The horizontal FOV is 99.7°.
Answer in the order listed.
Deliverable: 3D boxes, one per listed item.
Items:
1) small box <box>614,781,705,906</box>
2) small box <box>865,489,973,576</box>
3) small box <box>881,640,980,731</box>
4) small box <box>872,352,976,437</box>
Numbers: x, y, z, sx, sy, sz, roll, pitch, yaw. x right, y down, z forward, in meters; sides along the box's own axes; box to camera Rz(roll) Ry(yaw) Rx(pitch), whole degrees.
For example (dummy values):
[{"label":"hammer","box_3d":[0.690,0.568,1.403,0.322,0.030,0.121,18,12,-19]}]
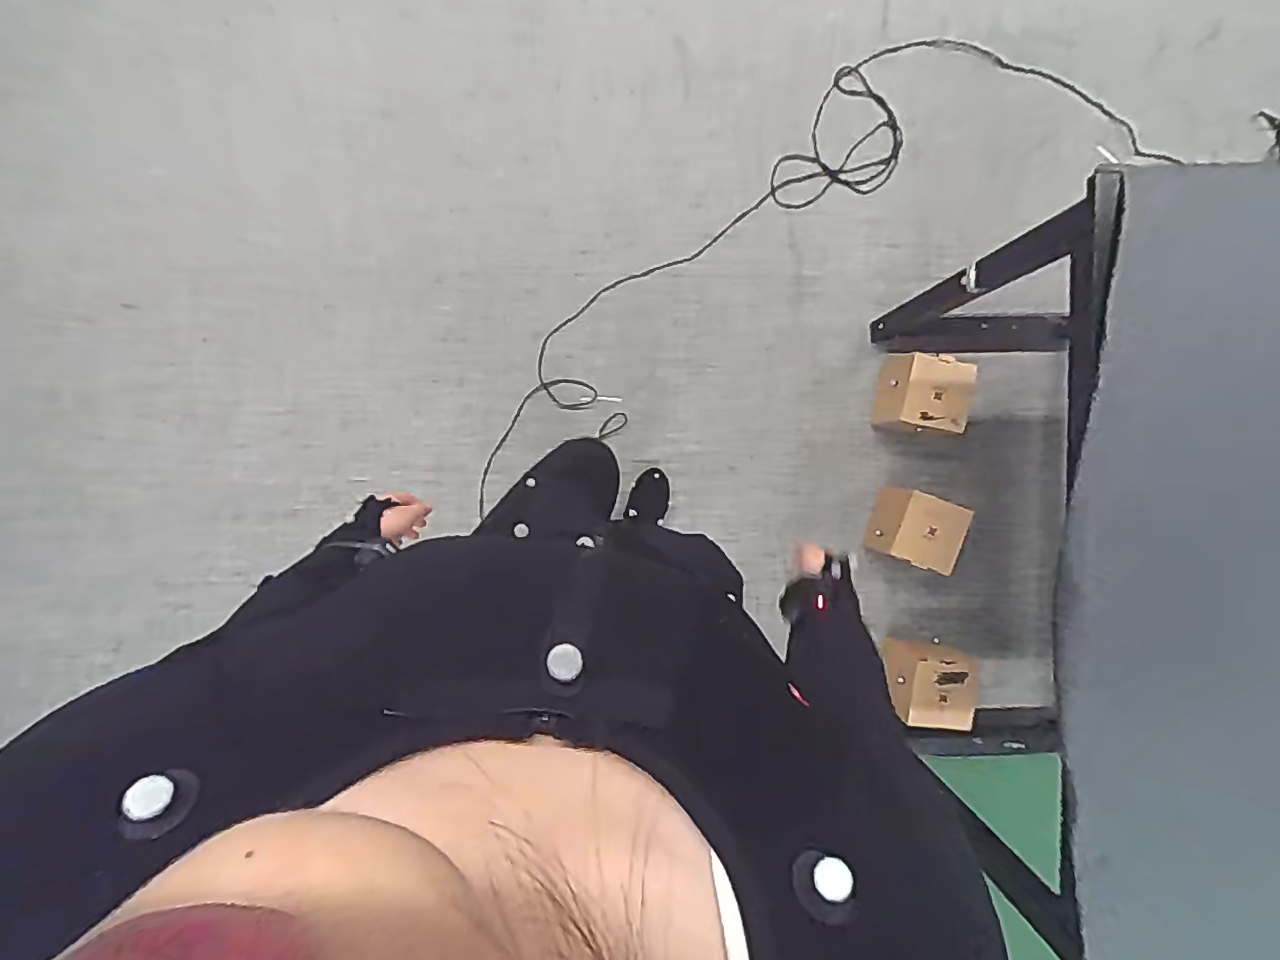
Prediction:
[{"label":"small box","box_3d":[0.049,0.948,1.426,0.168,0.176,0.179,-36,91,0]},{"label":"small box","box_3d":[0.721,0.131,1.421,0.168,0.176,0.179,20,89,-2]},{"label":"small box","box_3d":[0.760,0.535,1.431,0.168,0.176,0.179,5,92,-1]},{"label":"small box","box_3d":[0.733,-0.216,1.413,0.168,0.176,0.179,12,90,-1]}]
